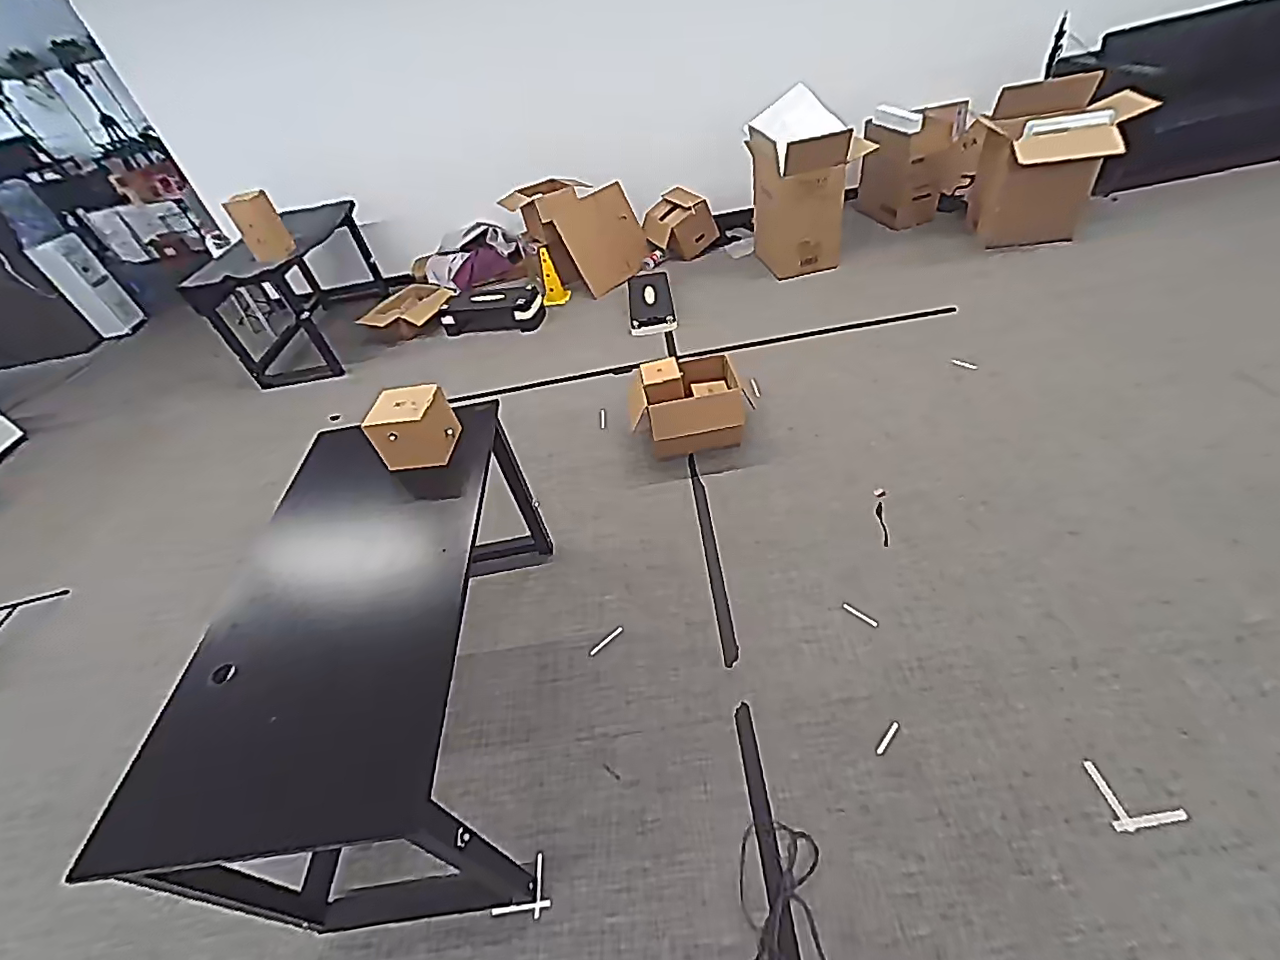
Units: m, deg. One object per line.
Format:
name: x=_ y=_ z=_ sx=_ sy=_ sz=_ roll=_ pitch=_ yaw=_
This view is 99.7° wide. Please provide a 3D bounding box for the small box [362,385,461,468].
small box: x=-0.642 y=-0.148 z=1.539 sx=0.179 sy=0.176 sz=0.168 roll=-5 pitch=45 yaw=8
